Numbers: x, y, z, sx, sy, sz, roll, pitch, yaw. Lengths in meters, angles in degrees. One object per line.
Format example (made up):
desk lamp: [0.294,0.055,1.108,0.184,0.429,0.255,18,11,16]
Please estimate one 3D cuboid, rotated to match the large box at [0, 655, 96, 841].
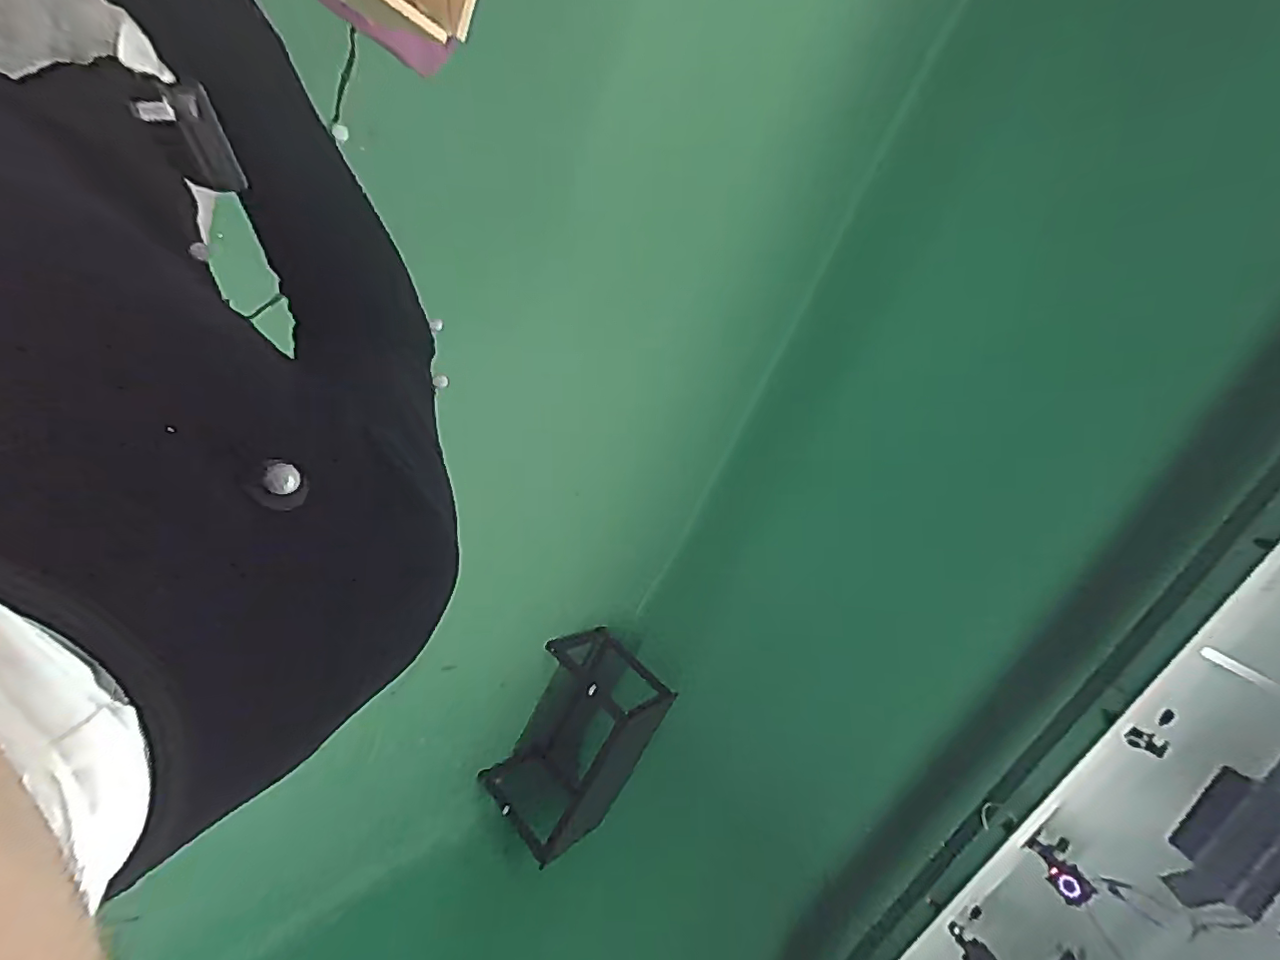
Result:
large box: [-1.693,0.714,1.309,0.408,0.320,0.320,-35,146,-32]
